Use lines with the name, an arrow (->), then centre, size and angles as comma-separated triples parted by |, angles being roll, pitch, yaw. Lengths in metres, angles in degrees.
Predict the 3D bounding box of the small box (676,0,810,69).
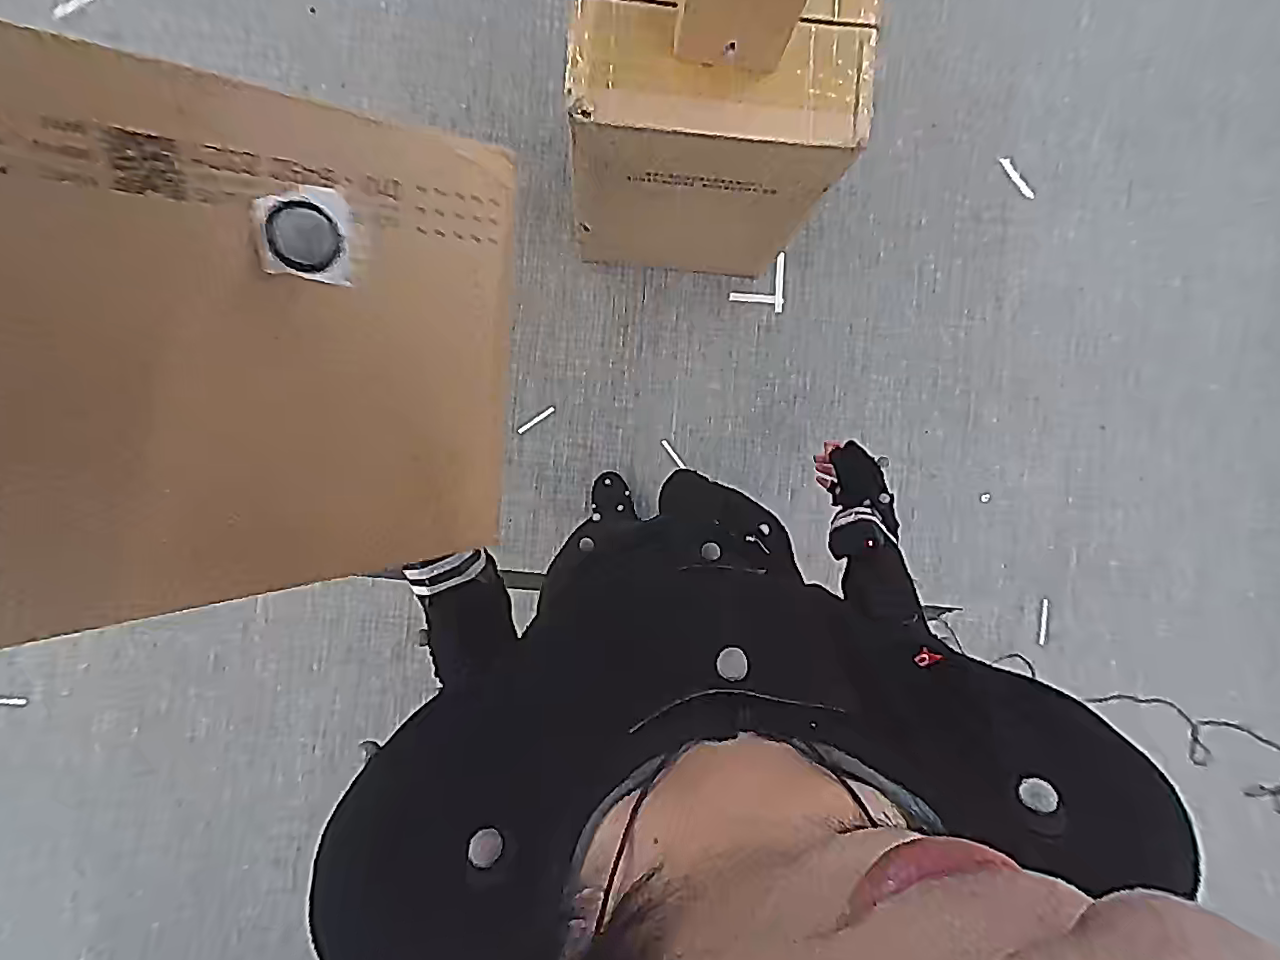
small box -> 0.159, -0.770, 0.822 | 0.179, 0.176, 0.168 | 4, 91, -4

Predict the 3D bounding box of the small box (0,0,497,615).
small box -> -0.168, -0.077, 0.233 | 0.168, 0.179, 0.176 | -8, 119, -35
